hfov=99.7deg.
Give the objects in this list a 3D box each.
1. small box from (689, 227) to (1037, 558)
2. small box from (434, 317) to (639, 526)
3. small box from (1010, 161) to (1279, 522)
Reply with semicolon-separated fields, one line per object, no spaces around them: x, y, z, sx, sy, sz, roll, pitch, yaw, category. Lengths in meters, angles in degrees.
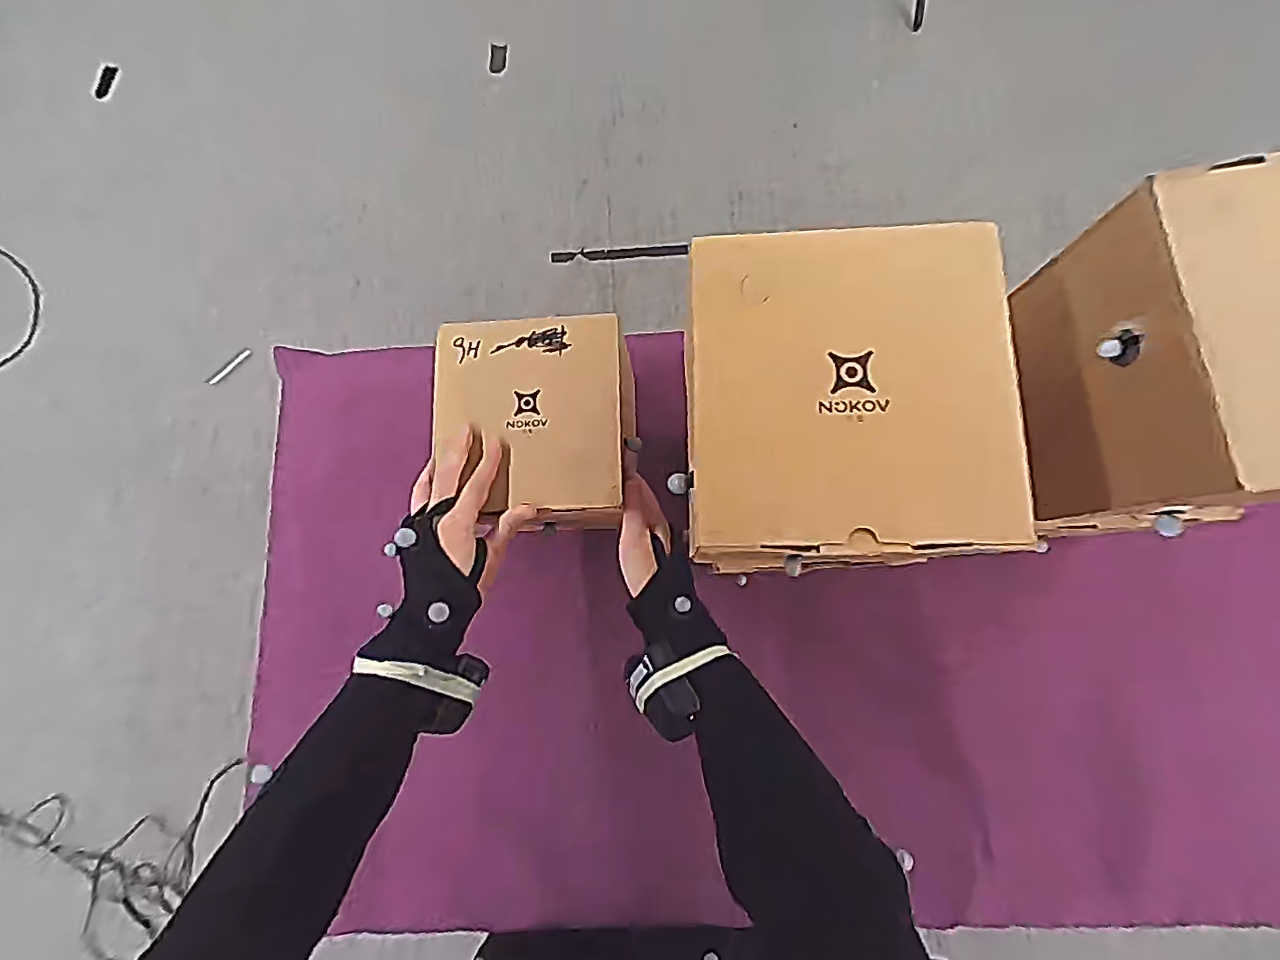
0.119;-0.039;0.363;0.168;0.176;0.179;-1;81;4;small box
-0.090;-0.044;0.546;0.168;0.176;0.179;-2;81;4;small box
0.367;-0.074;0.350;0.168;0.176;0.179;-6;80;4;small box
